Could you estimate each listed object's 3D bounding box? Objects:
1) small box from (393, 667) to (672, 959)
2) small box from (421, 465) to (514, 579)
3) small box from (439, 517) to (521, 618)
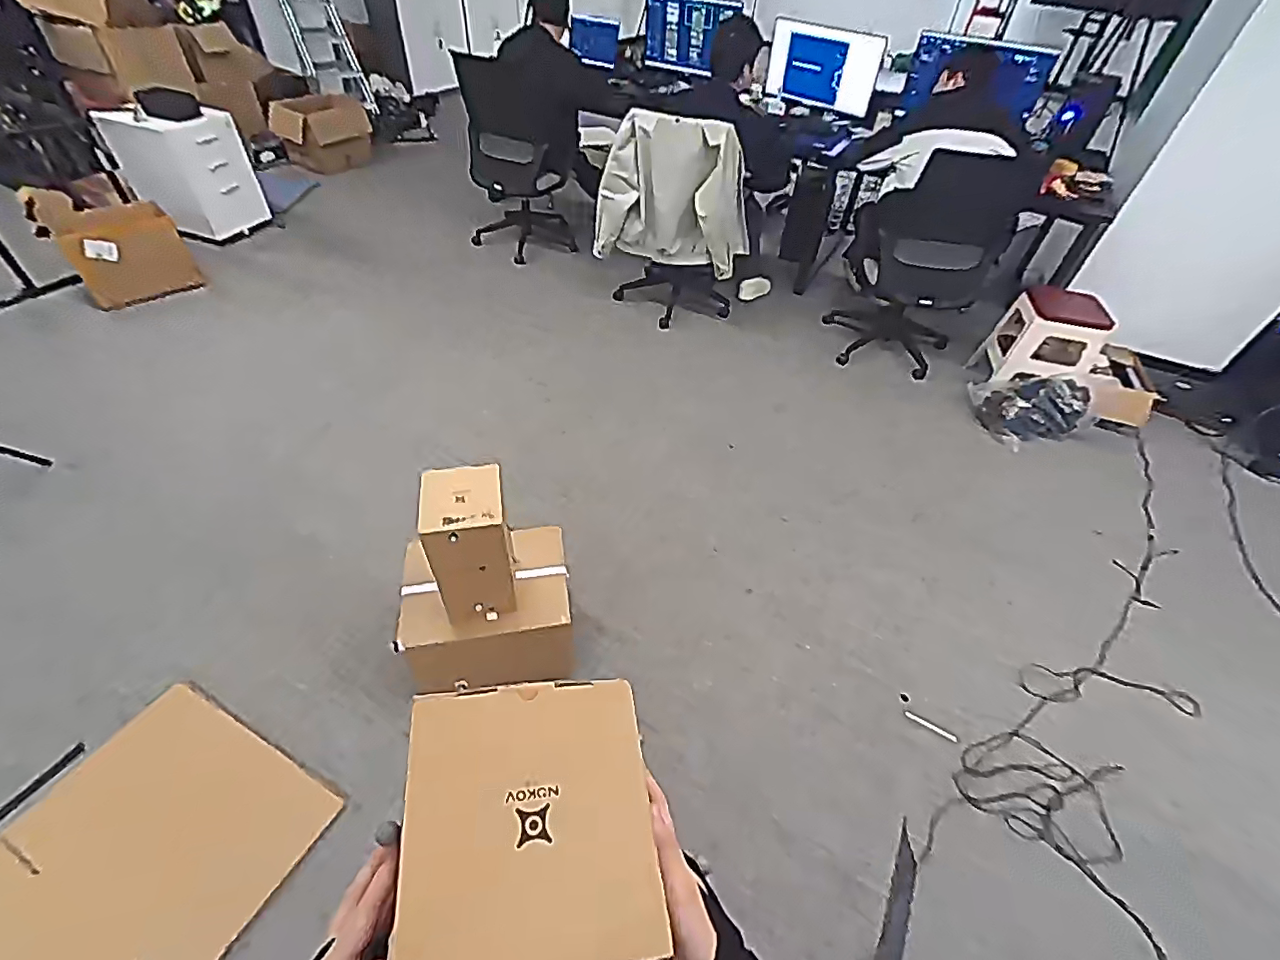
[{"bbox_3d":[-0.090,0.268,0.422,0.168,0.176,0.179,2,49,-19],"label":"small box"},{"bbox_3d":[-0.373,0.092,1.190,0.168,0.176,0.179,-7,47,-11],"label":"small box"},{"bbox_3d":[-0.382,0.208,1.307,0.168,0.176,0.179,-7,48,-11],"label":"small box"}]
